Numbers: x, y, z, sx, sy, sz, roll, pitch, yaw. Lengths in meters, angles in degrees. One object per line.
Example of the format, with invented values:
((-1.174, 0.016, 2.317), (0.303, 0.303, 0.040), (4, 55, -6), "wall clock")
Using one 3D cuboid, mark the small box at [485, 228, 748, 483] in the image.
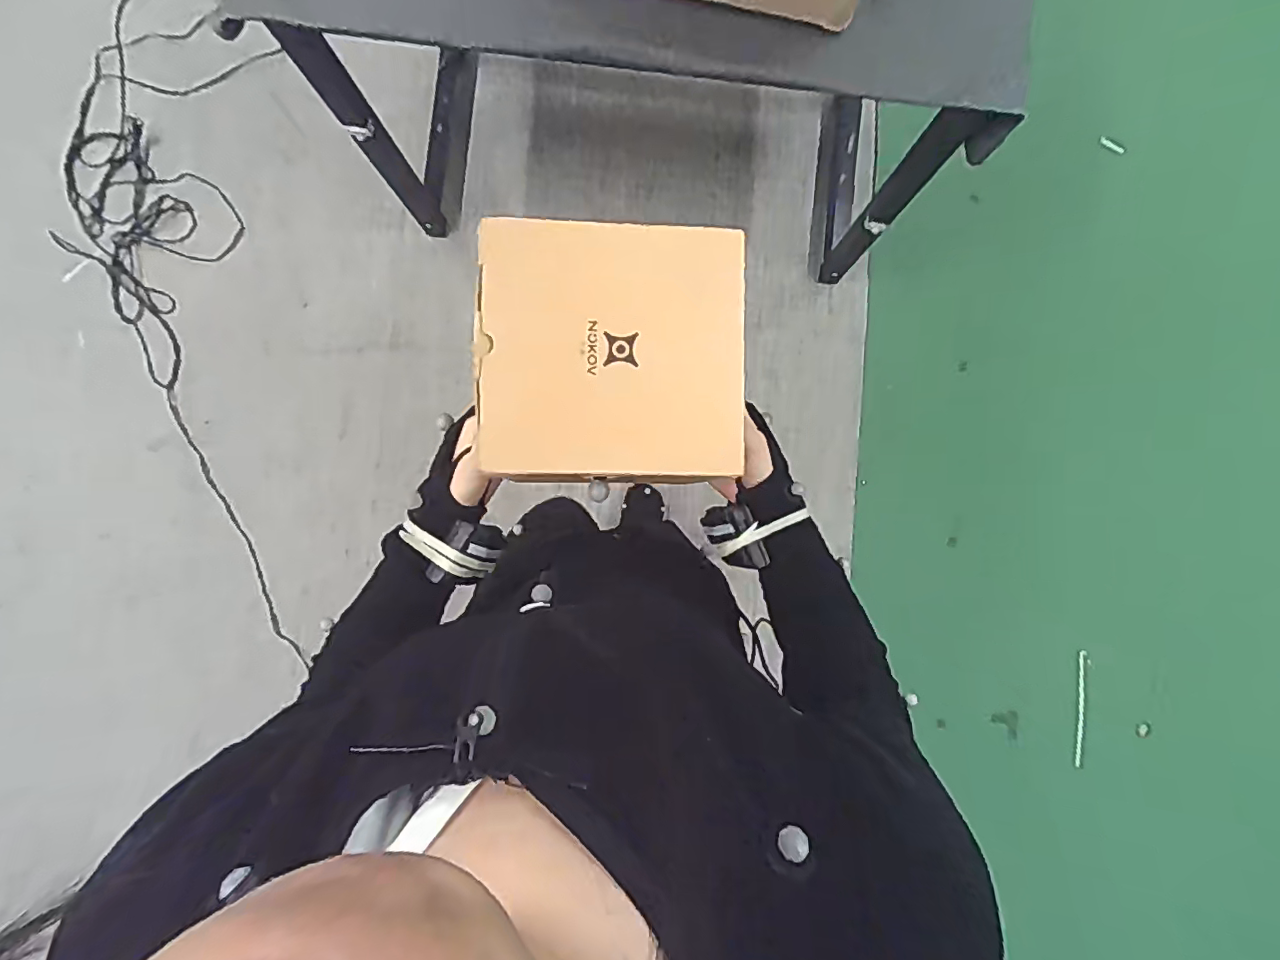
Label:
((-0.021, -0.082, 0.438), (0.179, 0.176, 0.168), (-1, 89, -4), "small box")
